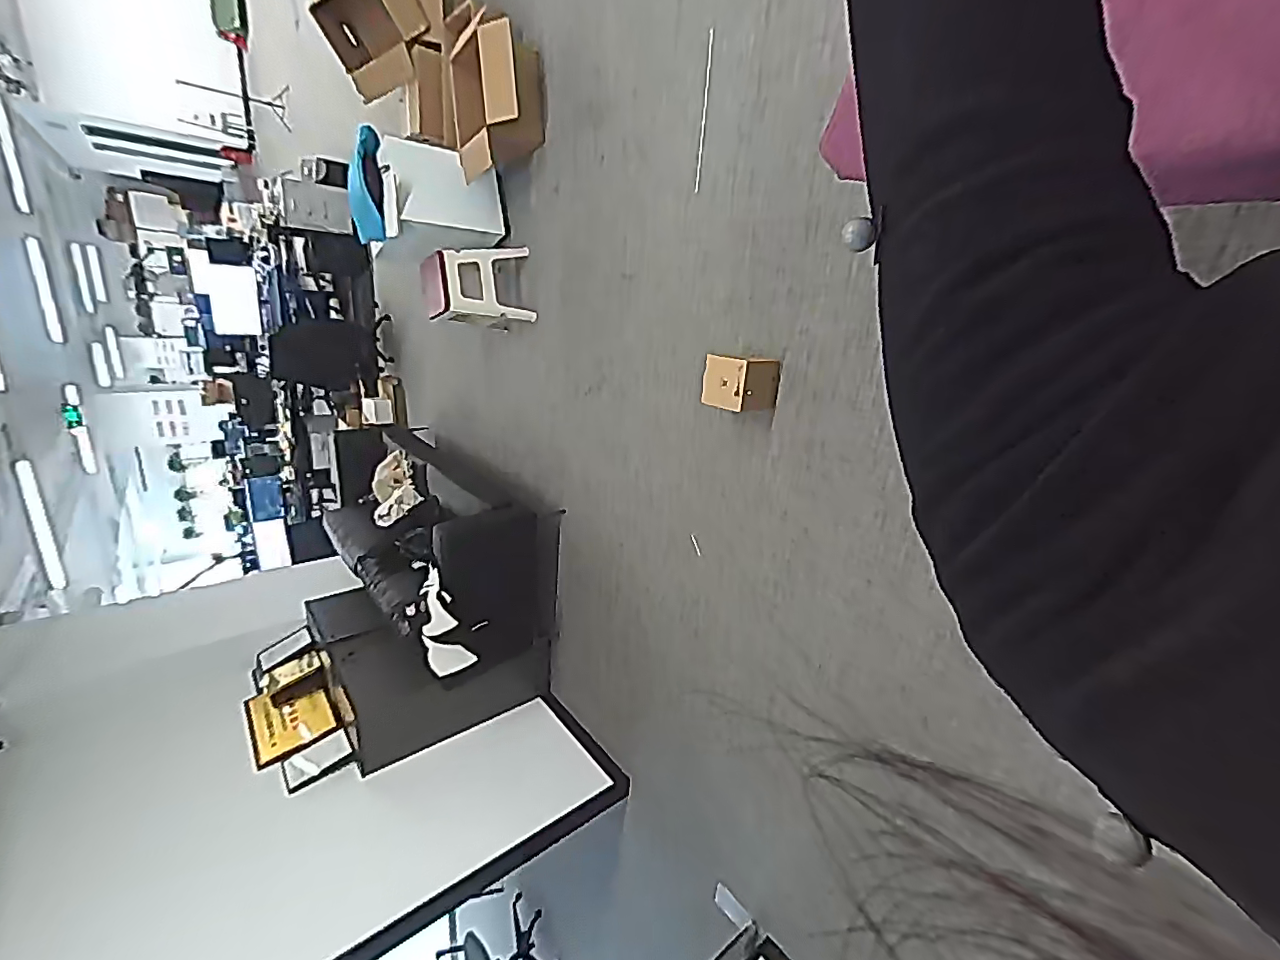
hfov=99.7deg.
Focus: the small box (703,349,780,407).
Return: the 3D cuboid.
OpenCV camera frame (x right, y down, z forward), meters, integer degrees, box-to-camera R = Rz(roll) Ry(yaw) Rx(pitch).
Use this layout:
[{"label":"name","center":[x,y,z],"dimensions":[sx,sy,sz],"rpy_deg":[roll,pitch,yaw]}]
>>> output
[{"label":"small box","center":[0.338,-0.342,1.807],"dimensions":[0.179,0.176,0.168],"rpy_deg":[26,118,46]}]
